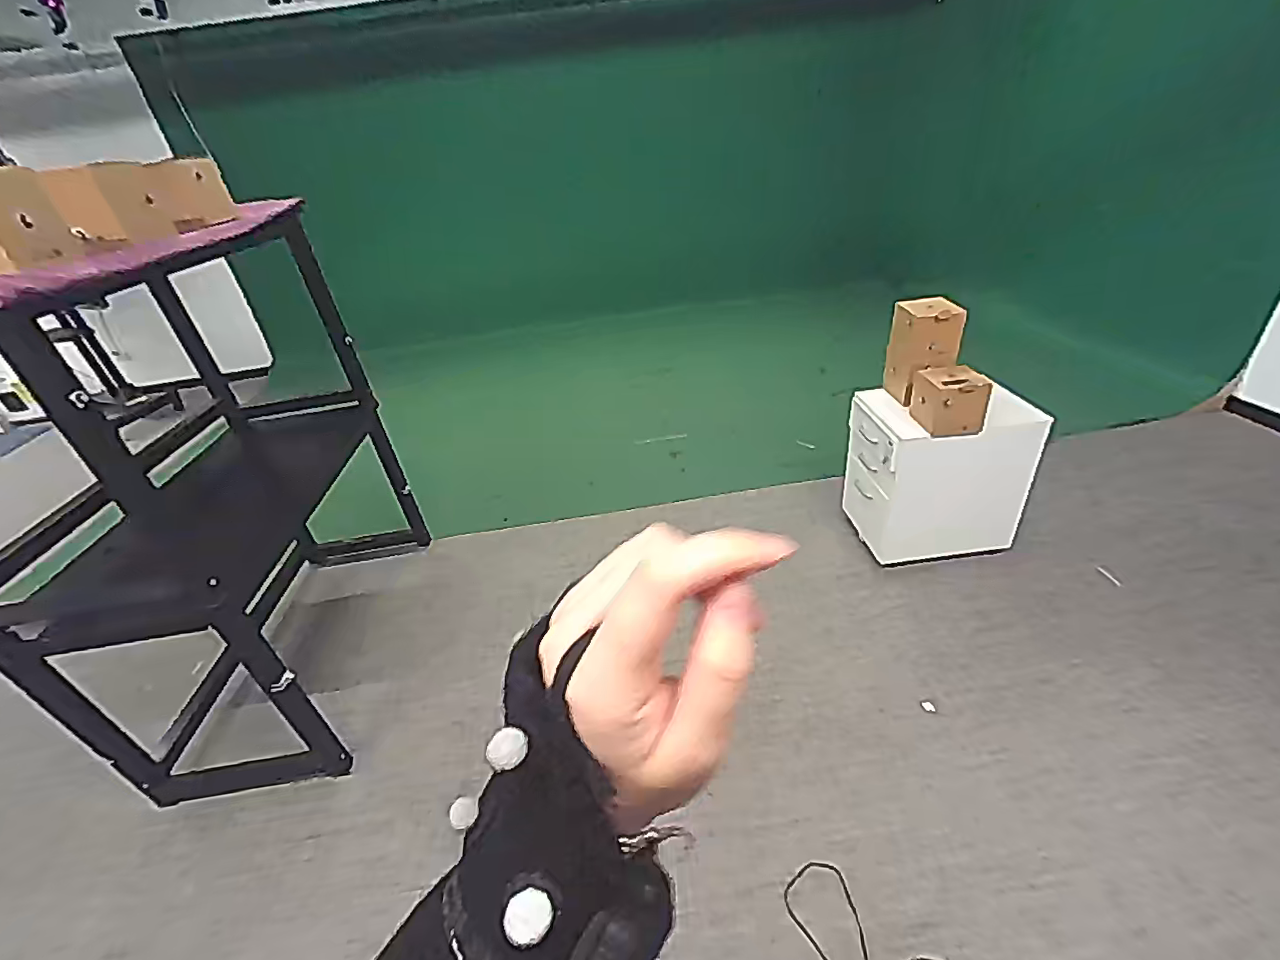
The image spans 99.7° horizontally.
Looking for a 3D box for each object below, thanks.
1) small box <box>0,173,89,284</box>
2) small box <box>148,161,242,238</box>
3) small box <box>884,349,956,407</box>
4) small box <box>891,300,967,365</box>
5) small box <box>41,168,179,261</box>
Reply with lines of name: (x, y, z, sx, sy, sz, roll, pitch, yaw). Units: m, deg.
small box: (-1.197, -0.454, 0.990, 0.179, 0.176, 0.168, -9, 31, -2)
small box: (-1.300, -0.802, 1.554, 0.168, 0.176, 0.179, -10, 33, 1)
small box: (1.027, -0.384, 1.999, 0.168, 0.176, 0.179, -8, 33, 0)
small box: (1.010, -0.520, 1.910, 0.168, 0.176, 0.179, -7, 35, 1)
small box: (-1.239, -0.619, 1.263, 0.168, 0.176, 0.179, -10, 33, -2)
